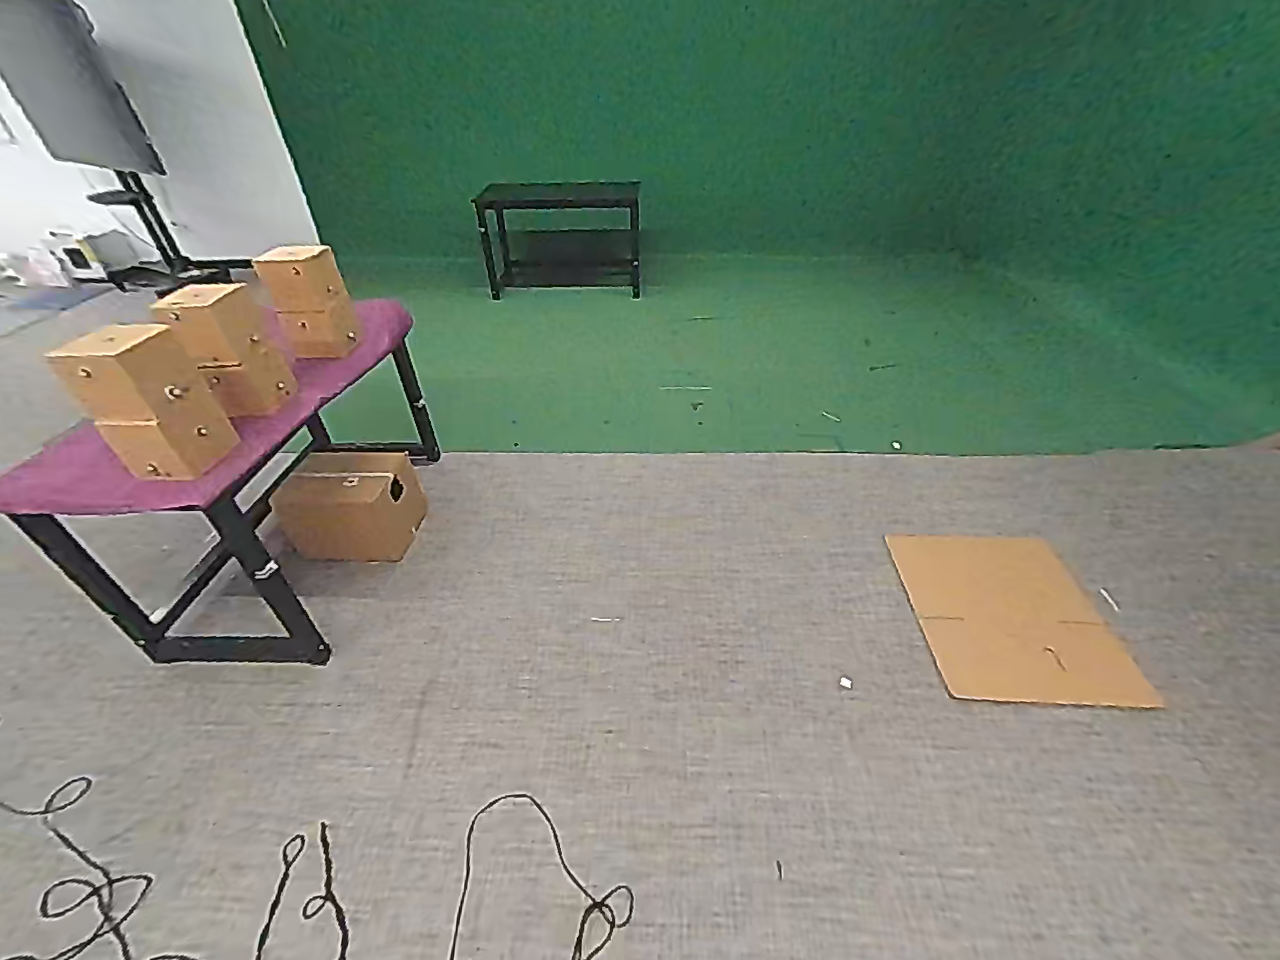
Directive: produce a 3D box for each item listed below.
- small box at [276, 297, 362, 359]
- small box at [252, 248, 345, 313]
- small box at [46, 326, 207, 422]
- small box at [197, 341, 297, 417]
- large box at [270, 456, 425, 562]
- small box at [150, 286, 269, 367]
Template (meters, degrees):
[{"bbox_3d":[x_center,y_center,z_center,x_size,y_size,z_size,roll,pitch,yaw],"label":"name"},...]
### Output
[{"bbox_3d":[-1.118,-0.534,1.900,0.179,0.176,0.168,1,38,2],"label":"small box"},{"bbox_3d":[-1.127,-0.663,1.802,0.179,0.176,0.168,0,38,2],"label":"small box"},{"bbox_3d":[-1.185,-0.247,1.265,0.179,0.176,0.168,2,39,5],"label":"small box"},{"bbox_3d":[-1.163,-0.294,1.590,0.179,0.176,0.168,-1,38,2],"label":"small box"},{"bbox_3d":[-1.135,0.113,2.147,0.408,0.320,0.320,1,39,2],"label":"large box"},{"bbox_3d":[-1.167,-0.422,1.488,0.168,0.176,0.179,-2,37,2],"label":"small box"}]
